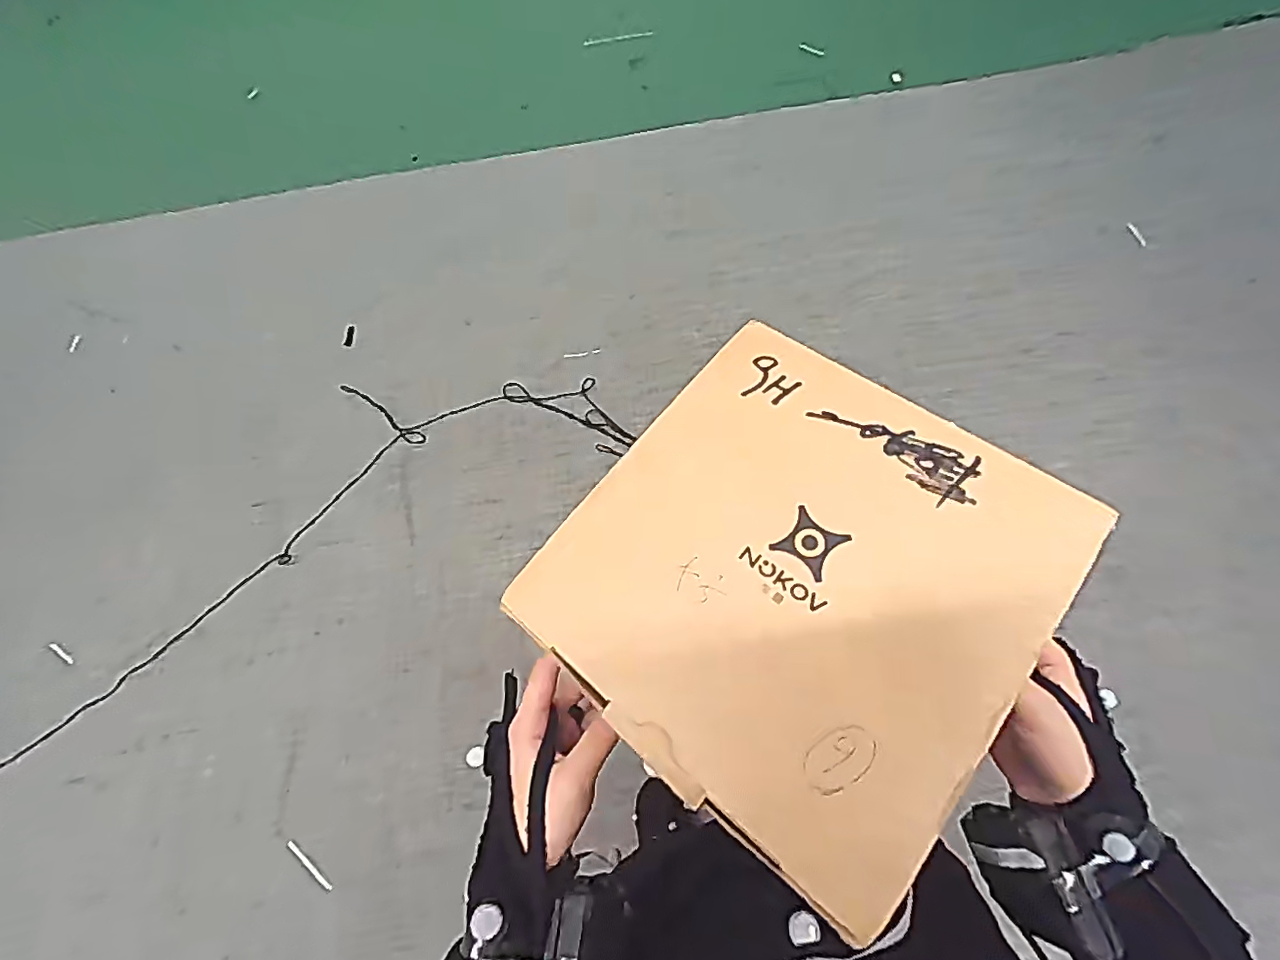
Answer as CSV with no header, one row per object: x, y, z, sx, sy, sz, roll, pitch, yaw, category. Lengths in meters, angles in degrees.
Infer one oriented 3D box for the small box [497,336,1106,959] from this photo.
0.067,0.071,0.279,0.168,0.176,0.179,37,75,22,small box
